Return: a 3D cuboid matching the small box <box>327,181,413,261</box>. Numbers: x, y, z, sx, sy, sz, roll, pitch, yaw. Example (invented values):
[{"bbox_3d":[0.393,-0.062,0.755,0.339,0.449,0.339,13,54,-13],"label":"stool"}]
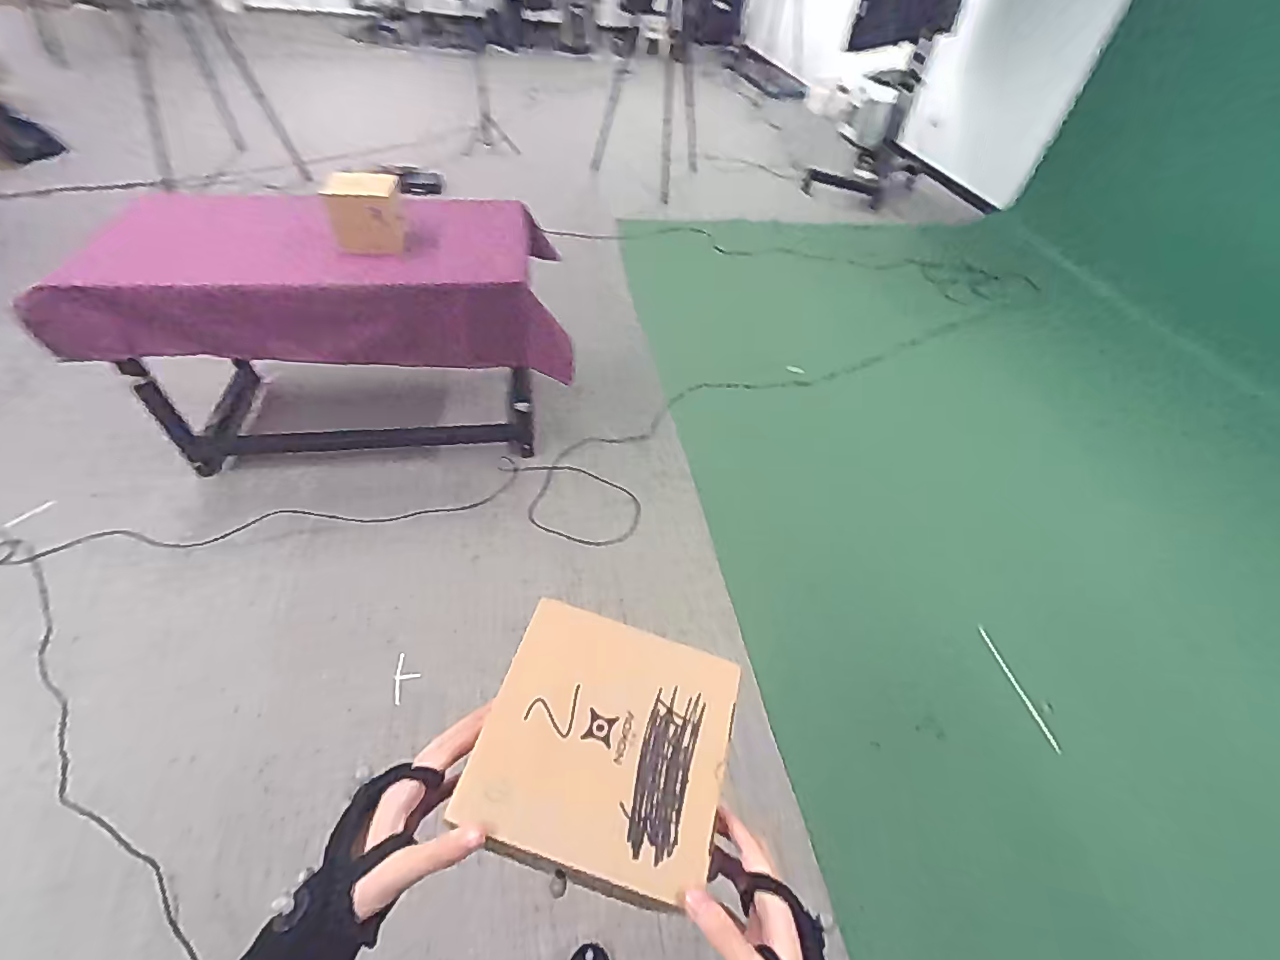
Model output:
[{"bbox_3d":[-0.792,-0.769,1.610,0.179,0.176,0.168,-2,47,-8],"label":"small box"}]
